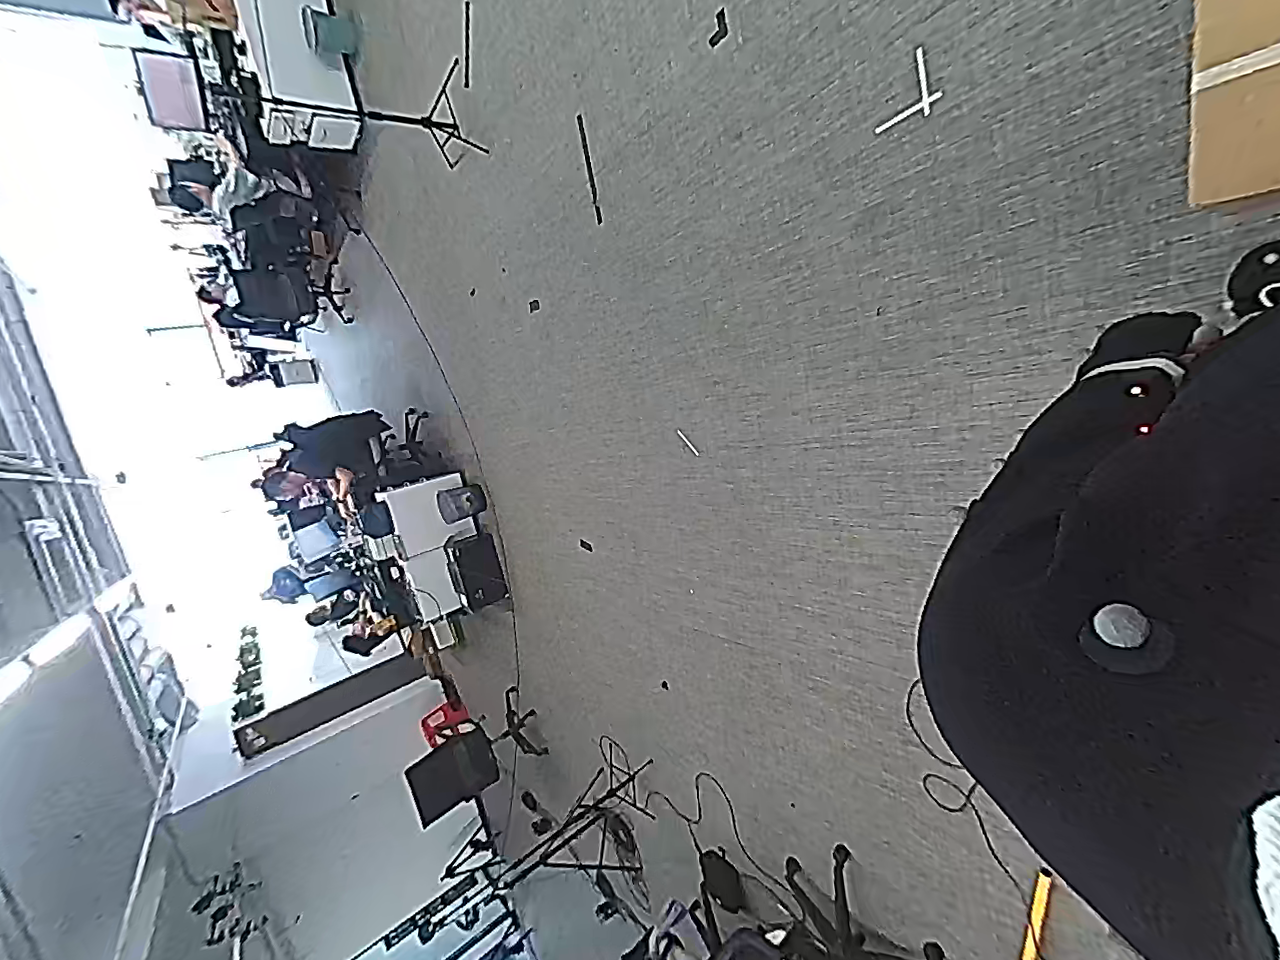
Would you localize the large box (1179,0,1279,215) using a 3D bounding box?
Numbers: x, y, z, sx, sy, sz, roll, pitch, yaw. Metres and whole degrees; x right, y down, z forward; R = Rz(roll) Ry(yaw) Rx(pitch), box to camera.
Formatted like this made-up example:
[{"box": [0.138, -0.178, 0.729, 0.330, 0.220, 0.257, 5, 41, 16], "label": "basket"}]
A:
[{"box": [0.958, -0.546, 0.650, 0.408, 0.320, 0.320, 5, 109, 52], "label": "large box"}]
